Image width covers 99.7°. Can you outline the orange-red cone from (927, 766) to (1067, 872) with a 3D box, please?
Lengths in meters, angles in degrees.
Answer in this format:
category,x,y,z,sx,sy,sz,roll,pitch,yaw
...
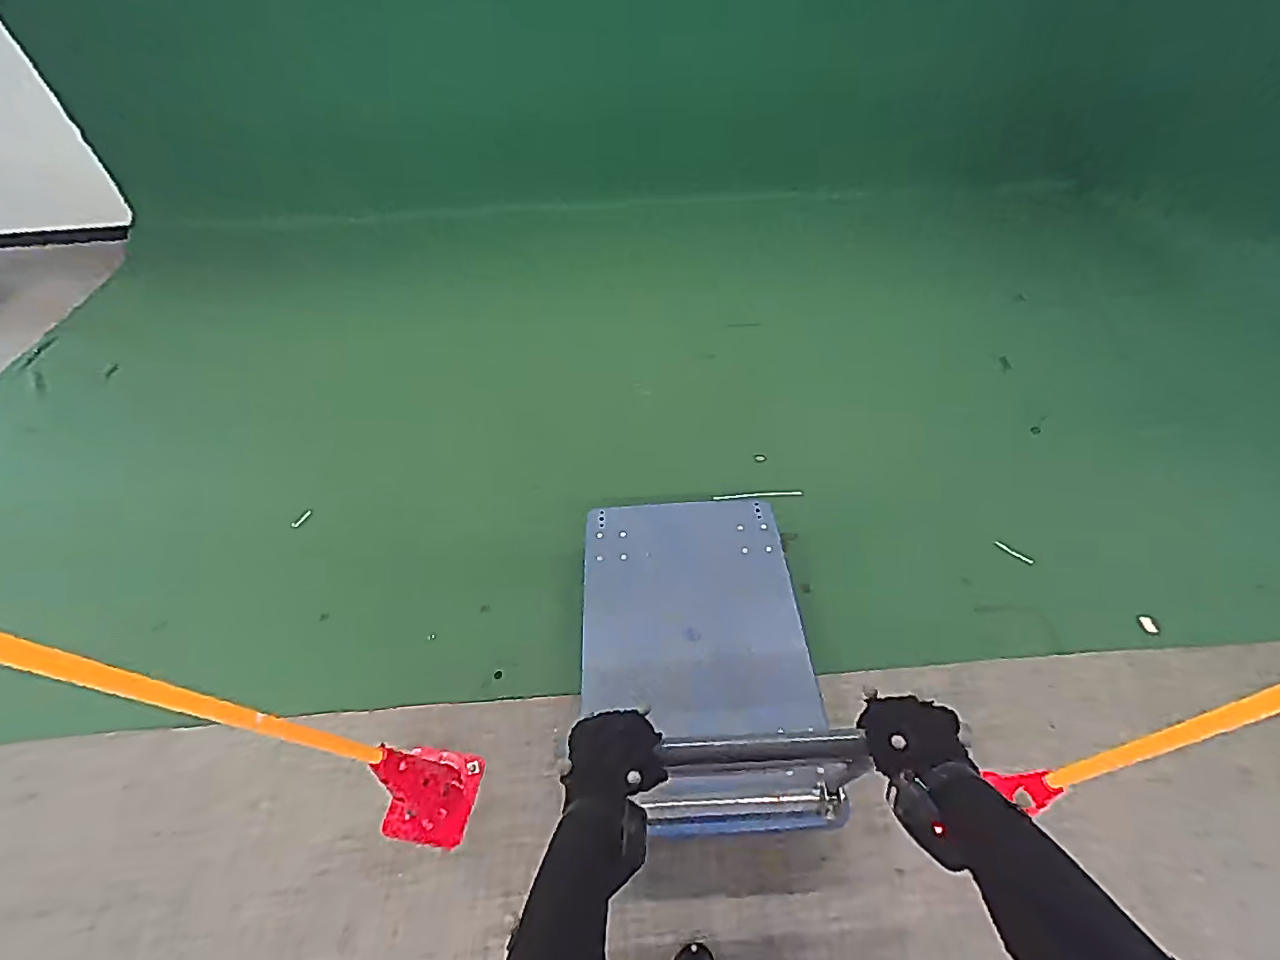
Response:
category,x,y,z,sx,sy,sz,roll,pitch,yaw
orange-red cone,0.781,0.675,1.135,0.198,0.360,0.199,4,50,6
